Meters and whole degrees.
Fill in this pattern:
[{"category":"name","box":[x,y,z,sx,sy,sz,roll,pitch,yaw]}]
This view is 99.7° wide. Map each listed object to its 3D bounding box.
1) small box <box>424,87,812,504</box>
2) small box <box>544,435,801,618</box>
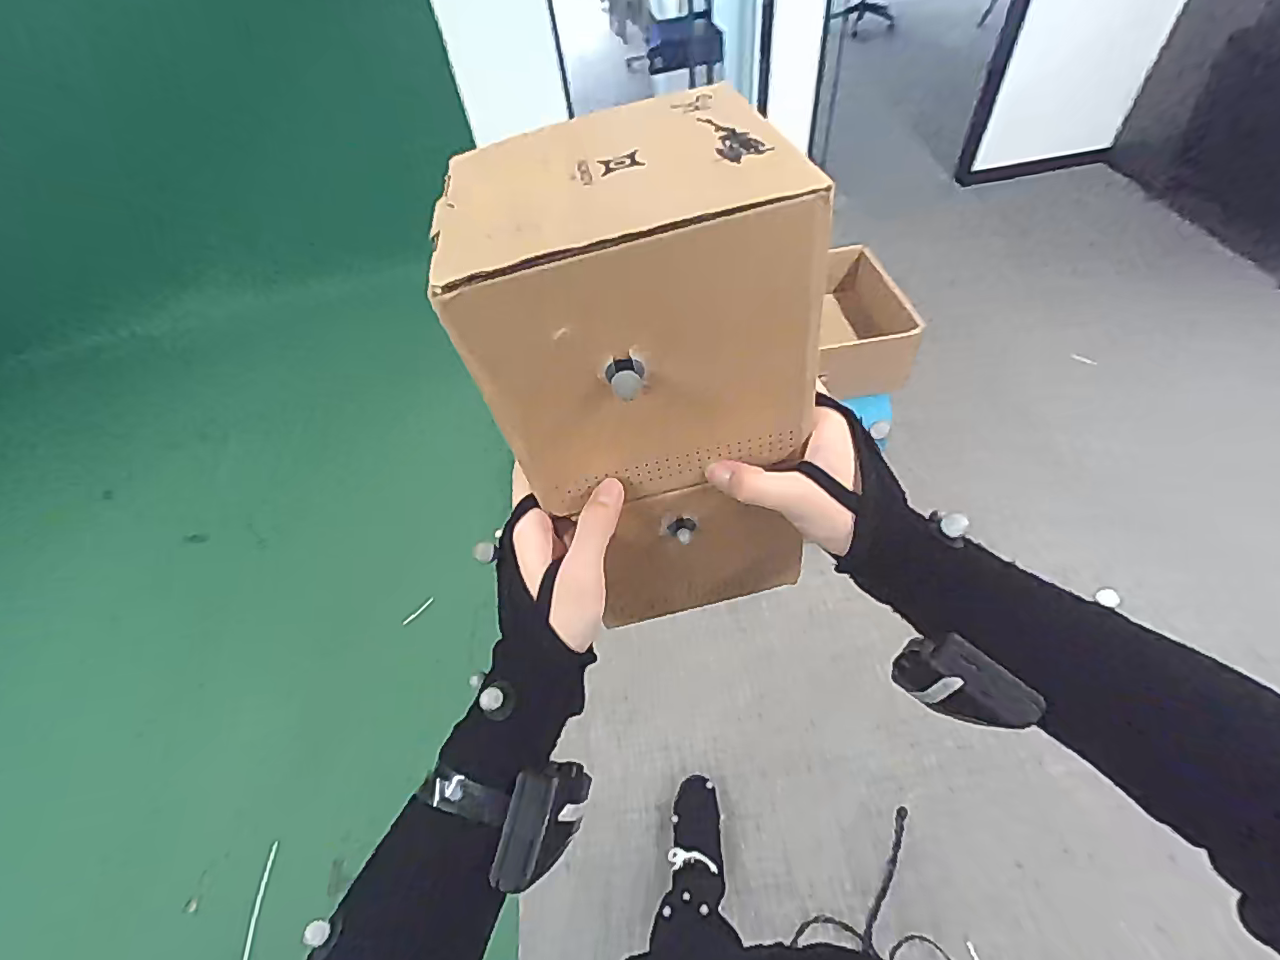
[{"category":"small box","box":[-0.006,-0.107,0.339,0.179,0.176,0.168,-14,49,2]},{"category":"small box","box":[0.025,-0.002,0.462,0.179,0.176,0.168,-13,48,2]}]
